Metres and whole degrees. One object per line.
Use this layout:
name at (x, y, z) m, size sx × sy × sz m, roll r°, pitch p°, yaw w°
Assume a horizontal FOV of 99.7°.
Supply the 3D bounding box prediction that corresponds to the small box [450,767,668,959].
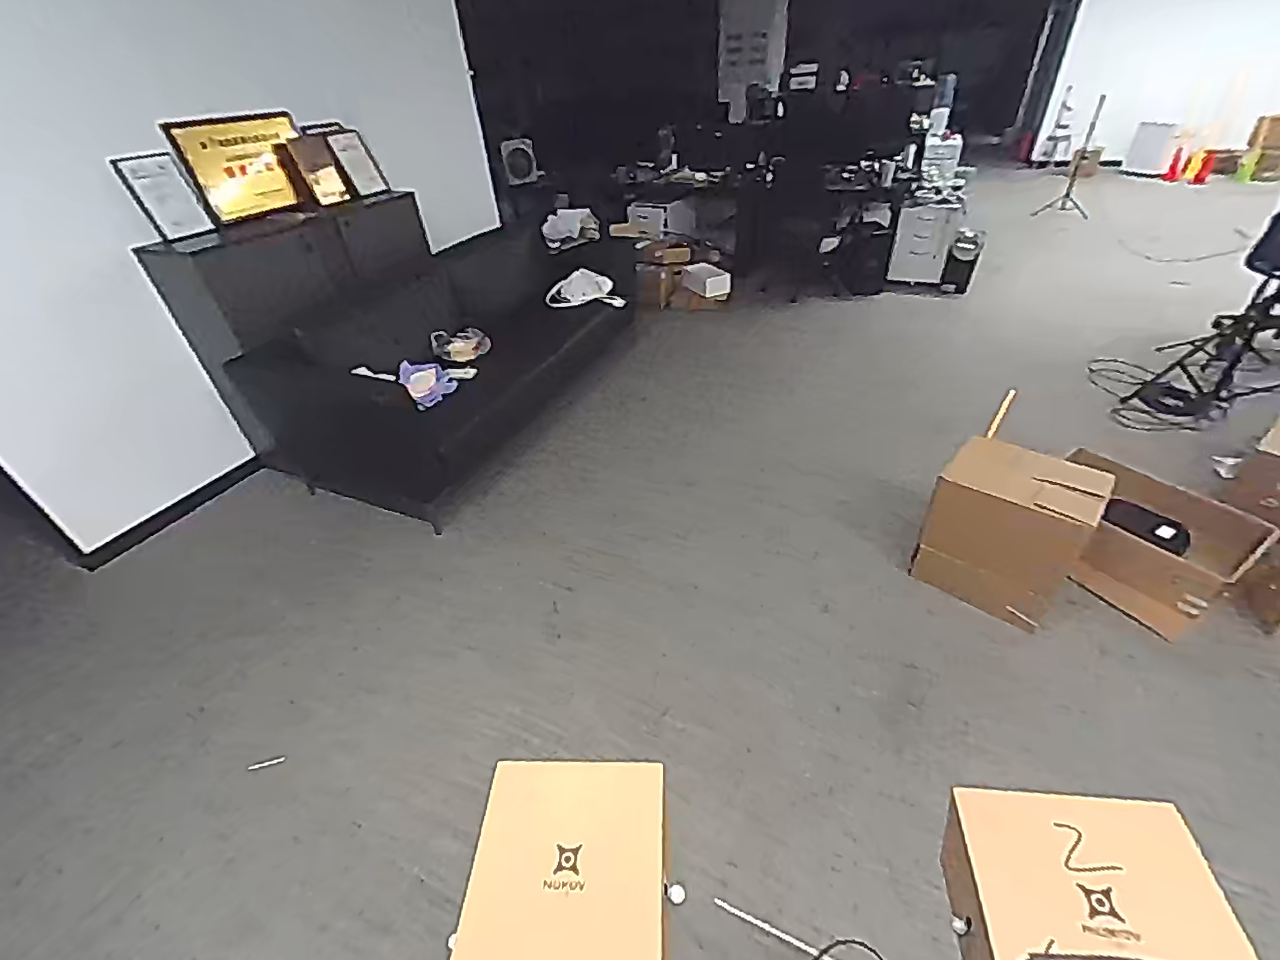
small box at (-0.060, 0.401, 0.515) m, size 0.168 × 0.176 × 0.179 m, roll -2°, pitch 39°, yaw 4°
